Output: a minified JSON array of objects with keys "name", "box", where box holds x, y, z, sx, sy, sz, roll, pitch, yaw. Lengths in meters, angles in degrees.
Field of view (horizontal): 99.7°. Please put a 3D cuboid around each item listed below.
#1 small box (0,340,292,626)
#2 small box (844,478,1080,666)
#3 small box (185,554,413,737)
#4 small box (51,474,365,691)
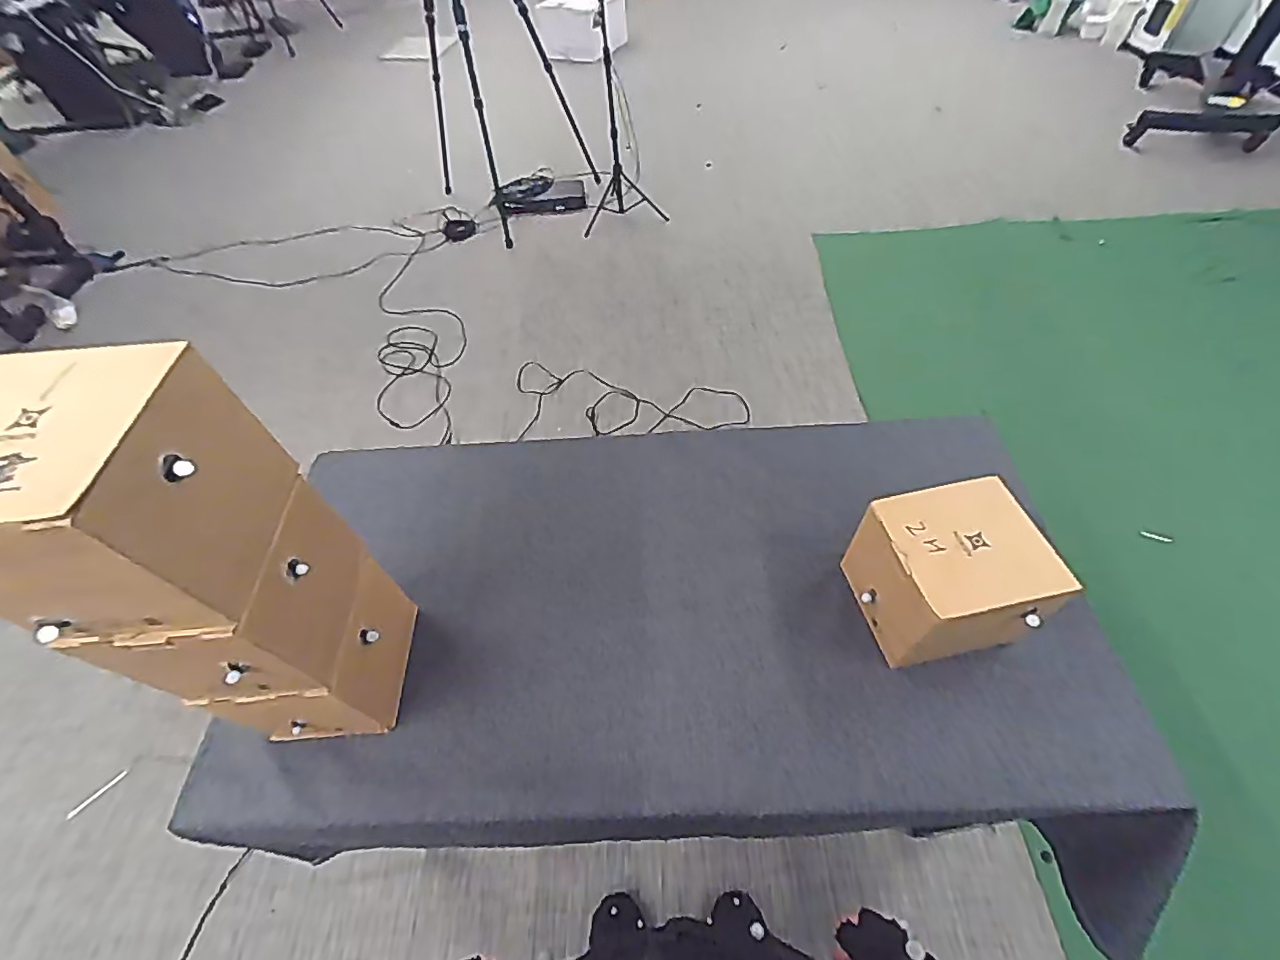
[{"name":"small box","box":[-0.432,0.010,0.448,0.168,0.176,0.179,-4,53,-1]},{"name":"small box","box":[0.395,0.123,0.704,0.179,0.176,0.168,-11,53,-3]},{"name":"small box","box":[-0.416,0.216,0.701,0.168,0.176,0.179,-5,53,1]},{"name":"small box","box":[-0.422,0.115,0.574,0.168,0.176,0.179,-3,53,0]}]
